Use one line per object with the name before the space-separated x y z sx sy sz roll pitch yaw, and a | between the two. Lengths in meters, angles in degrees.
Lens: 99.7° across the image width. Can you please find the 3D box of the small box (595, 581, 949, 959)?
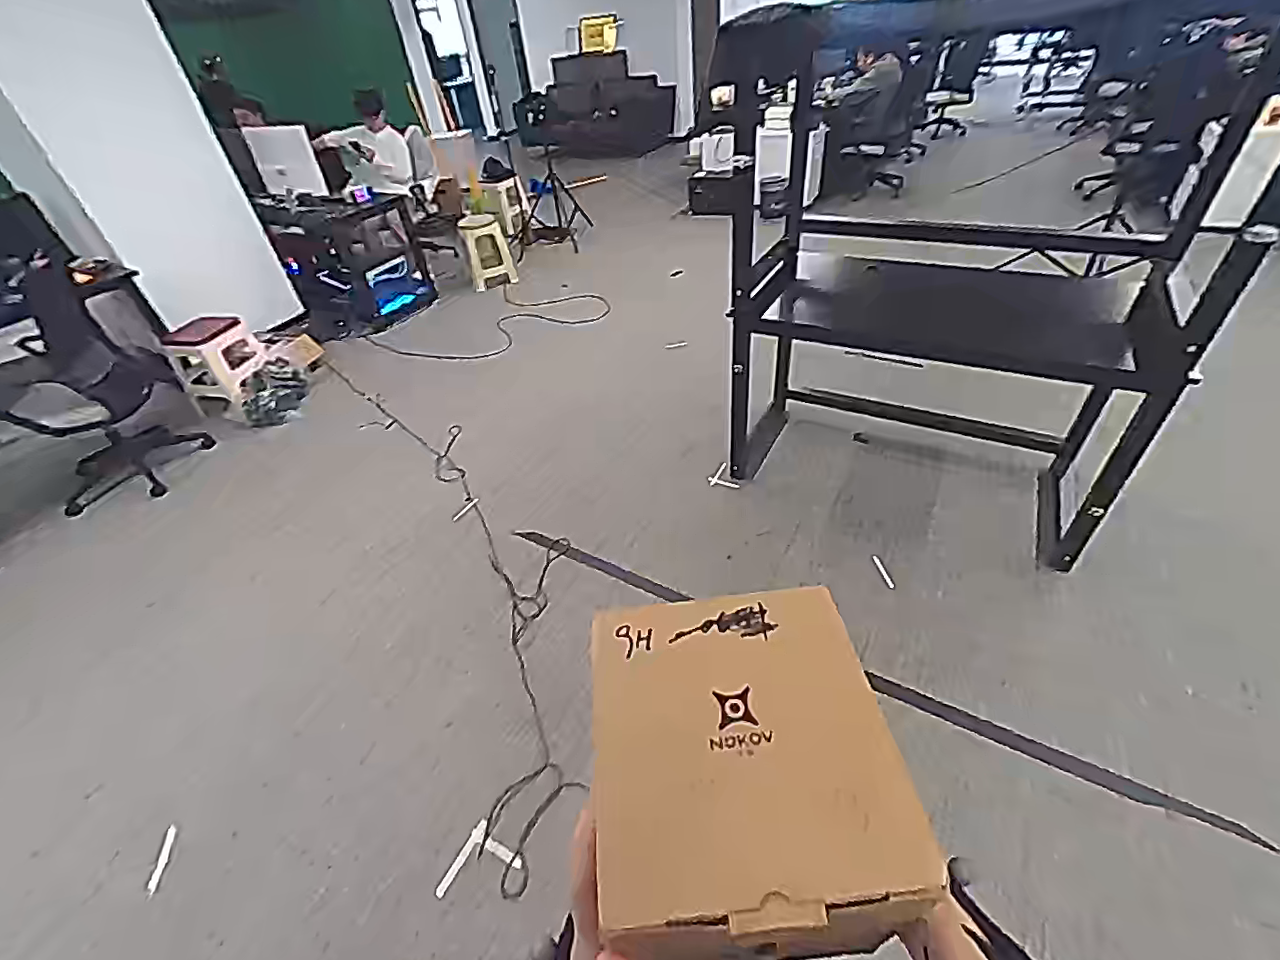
small box | 0.062 0.194 0.359 0.168 0.176 0.179 -6 43 0
